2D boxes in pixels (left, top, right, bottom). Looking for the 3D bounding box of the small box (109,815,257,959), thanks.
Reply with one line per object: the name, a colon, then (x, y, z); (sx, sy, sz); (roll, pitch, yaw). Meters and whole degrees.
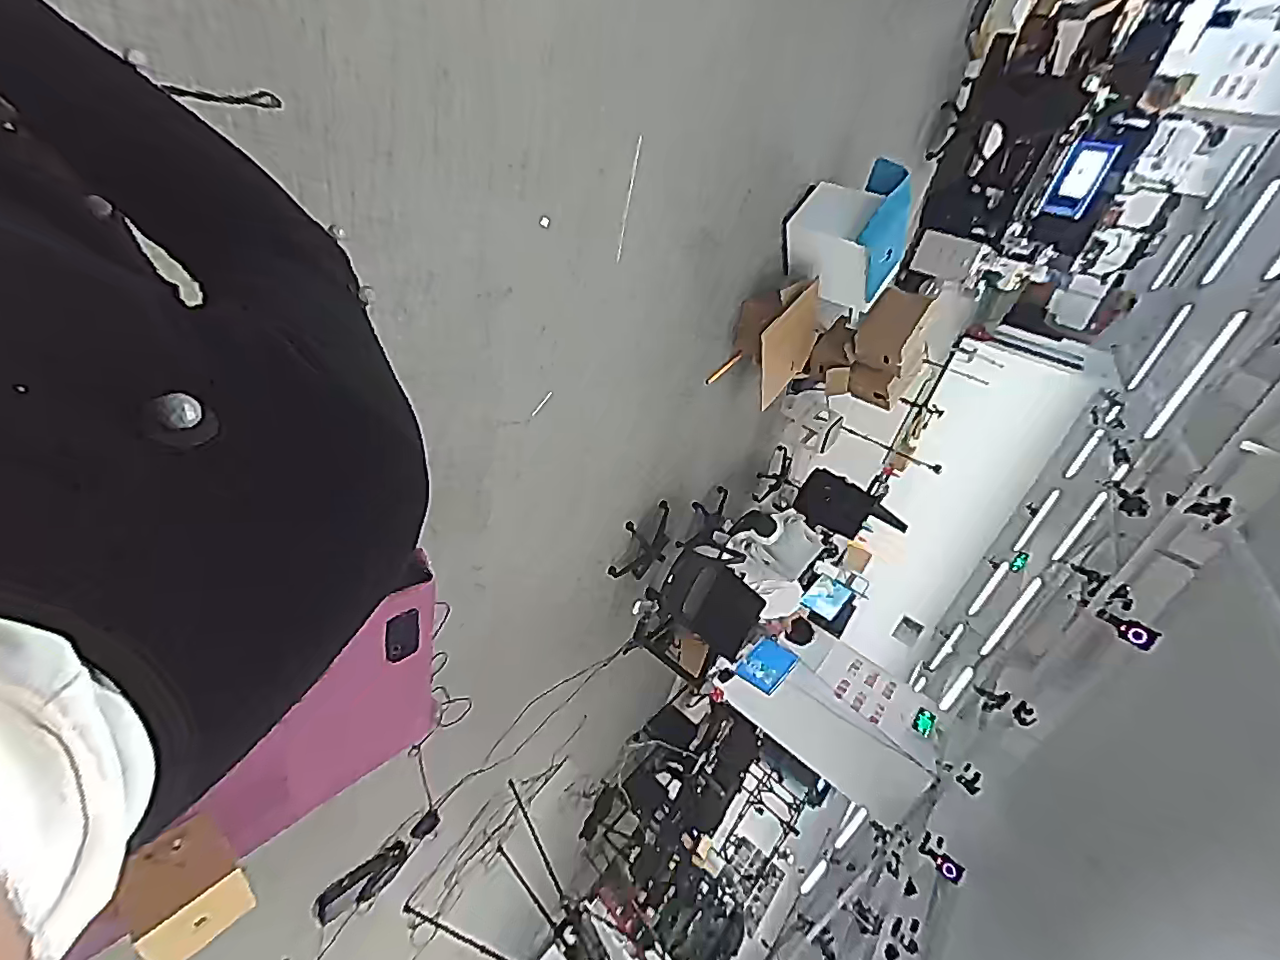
small box: (-0.905, 0.818, 1.078); (0.168, 0.176, 0.179); (-28, 139, -45)
